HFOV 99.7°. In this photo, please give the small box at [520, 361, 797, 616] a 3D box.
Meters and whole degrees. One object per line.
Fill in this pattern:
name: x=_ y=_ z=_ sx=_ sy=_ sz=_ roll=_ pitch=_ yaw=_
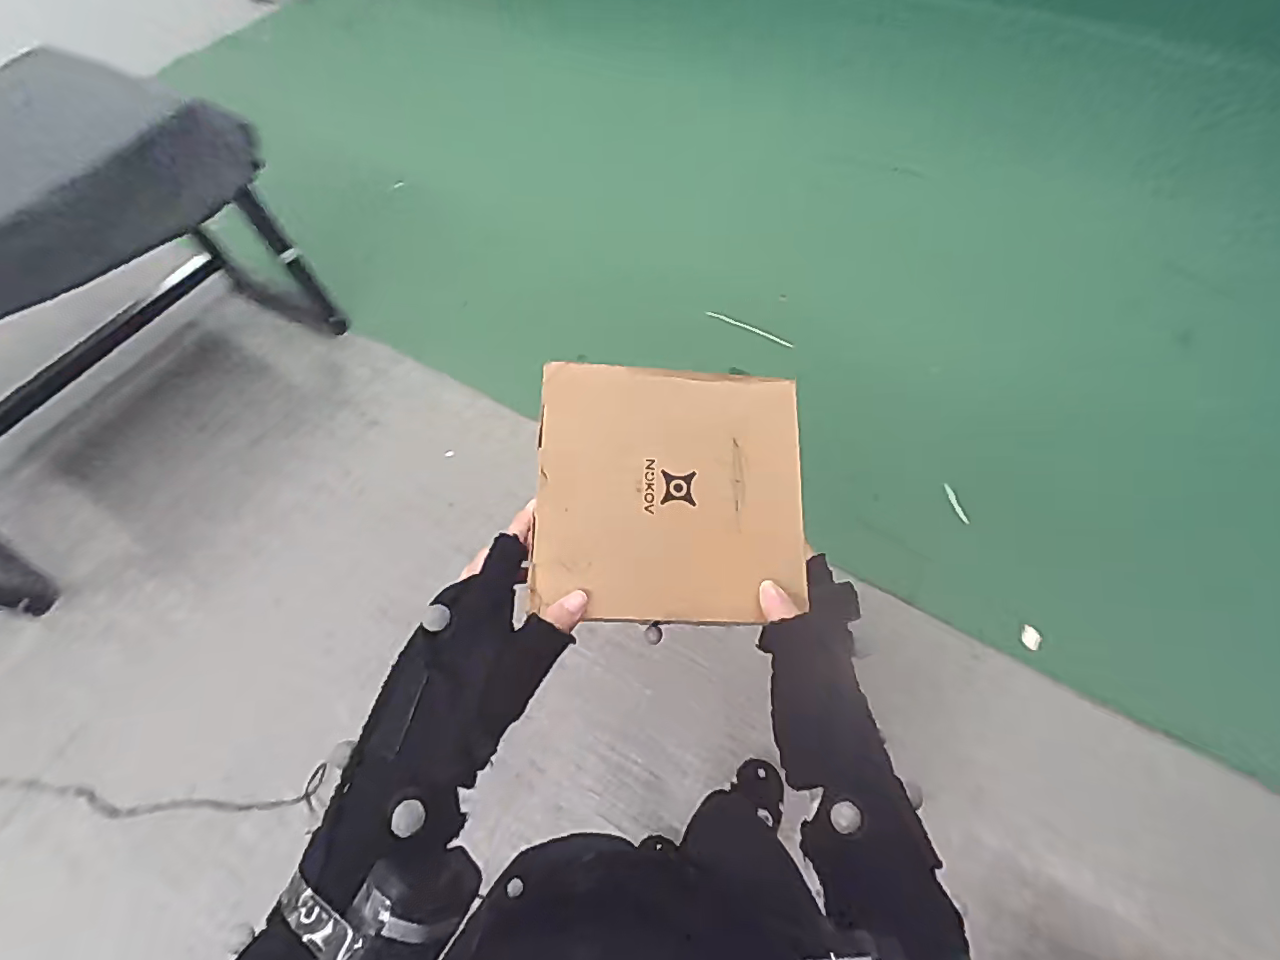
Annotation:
small box: x=0.003 y=0.021 z=0.429 sx=0.179 sy=0.176 sz=0.168 roll=1 pitch=76 yaw=-9
